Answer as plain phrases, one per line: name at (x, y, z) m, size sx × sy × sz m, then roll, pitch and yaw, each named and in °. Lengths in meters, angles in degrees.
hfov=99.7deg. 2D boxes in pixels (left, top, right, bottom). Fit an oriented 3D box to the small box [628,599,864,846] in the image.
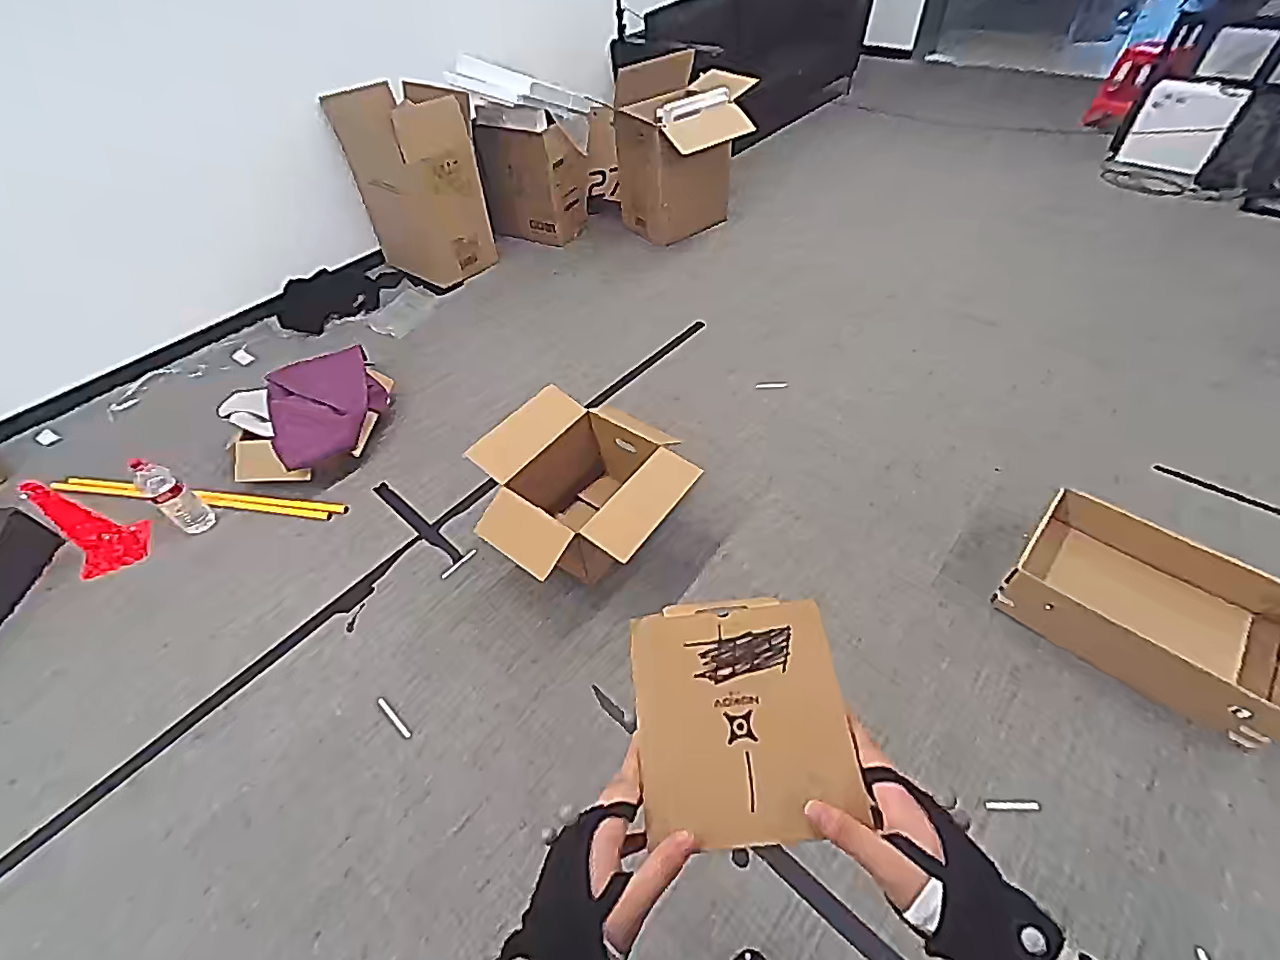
small box at (0.078, 0.226, 0.499) m, size 0.168 × 0.176 × 0.179 m, roll -6°, pitch 58°, yaw 0°
